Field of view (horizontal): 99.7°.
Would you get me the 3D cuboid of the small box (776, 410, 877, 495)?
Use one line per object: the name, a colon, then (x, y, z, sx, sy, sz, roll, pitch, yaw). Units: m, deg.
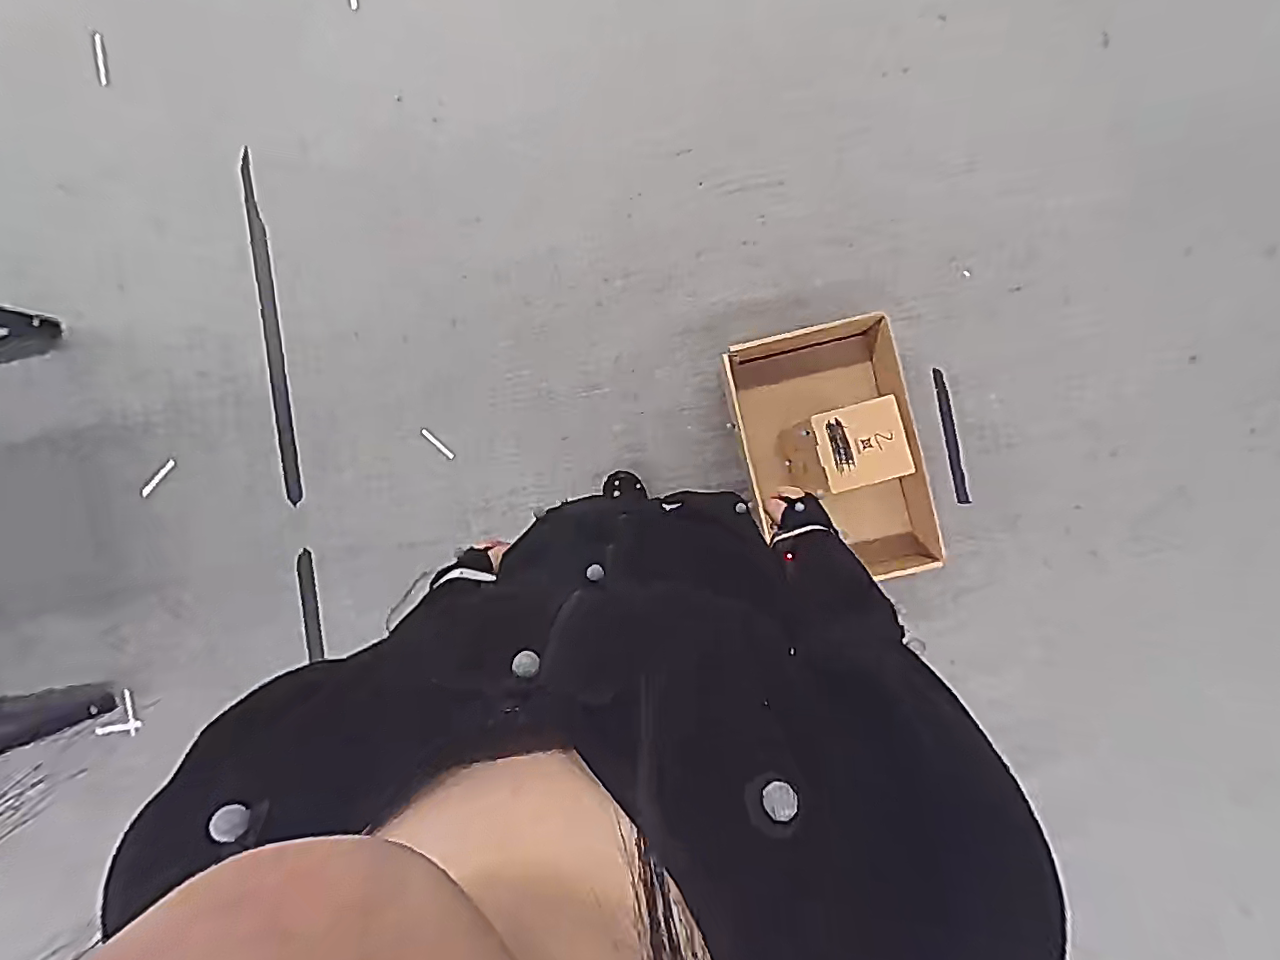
small box: (0.453, -0.065, 1.337, 0.179, 0.176, 0.168, -15, 88, 3)
